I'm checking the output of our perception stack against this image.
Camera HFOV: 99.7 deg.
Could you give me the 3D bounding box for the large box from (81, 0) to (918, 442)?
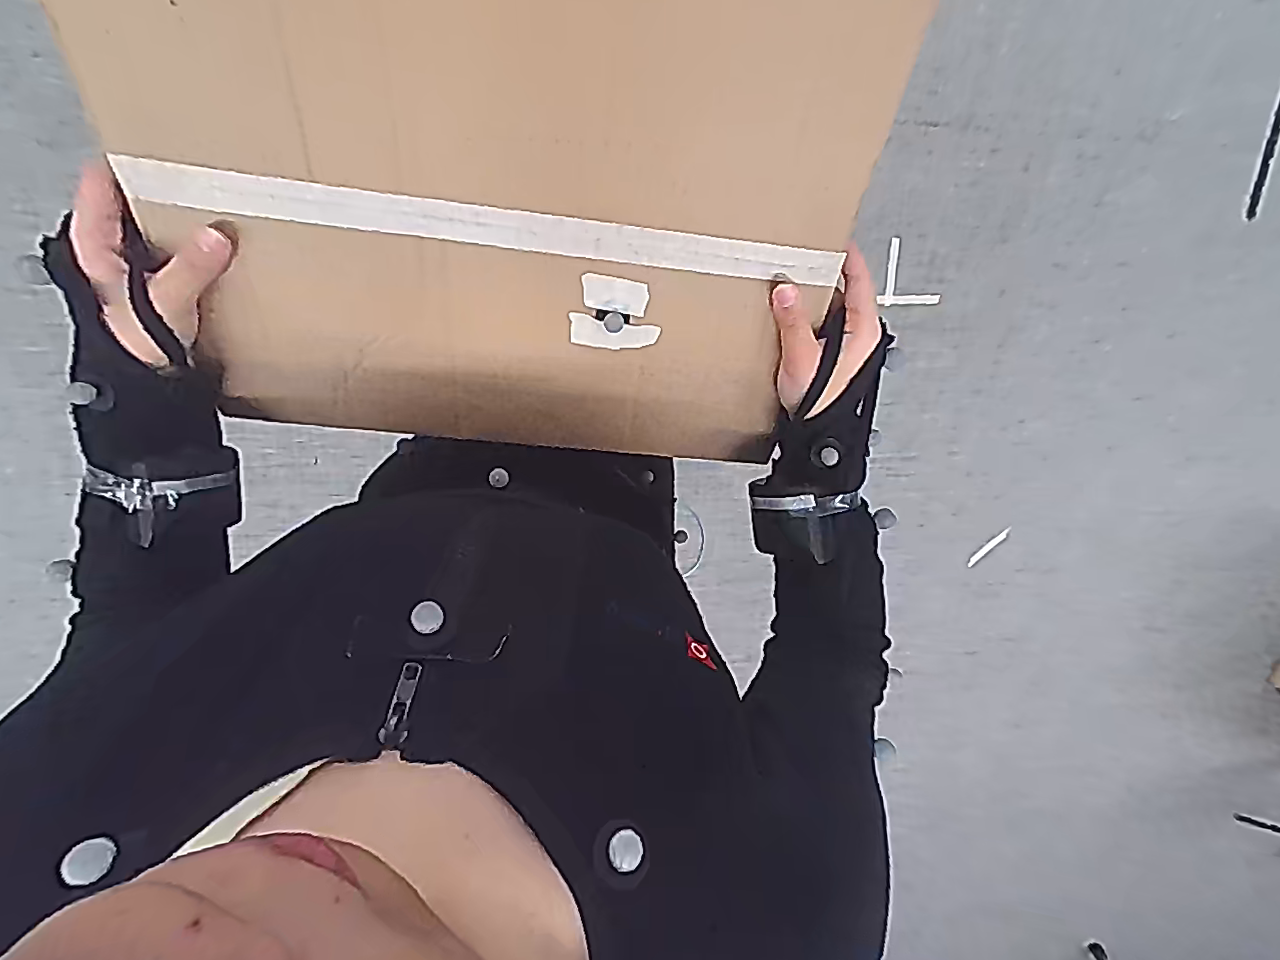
[{"bbox_3d":[-0.084,-0.252,0.435,0.408,0.320,0.320,4,131,-8],"label":"large box"}]
